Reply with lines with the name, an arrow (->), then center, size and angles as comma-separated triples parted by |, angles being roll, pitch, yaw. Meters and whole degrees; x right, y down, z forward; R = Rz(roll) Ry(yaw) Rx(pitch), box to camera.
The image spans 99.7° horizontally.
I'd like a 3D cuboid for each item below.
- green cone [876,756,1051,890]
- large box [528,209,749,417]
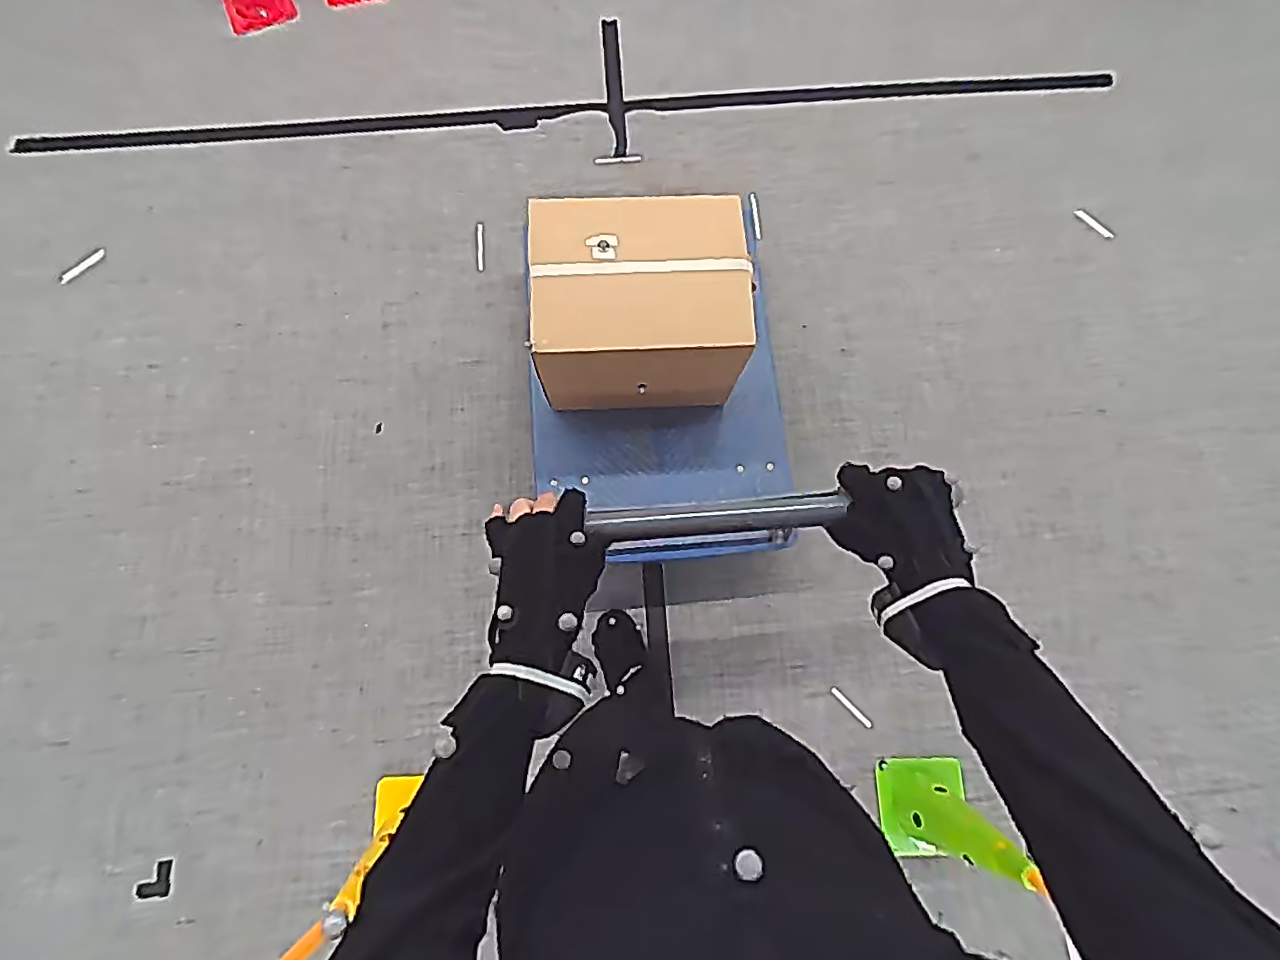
green cone -> 0.654, 0.707, 1.073 | 0.202, 0.368, 0.200 | -1, 77, -3
large box -> -0.008, -0.333, 1.155 | 0.408, 0.320, 0.320 | -3, 78, -2
